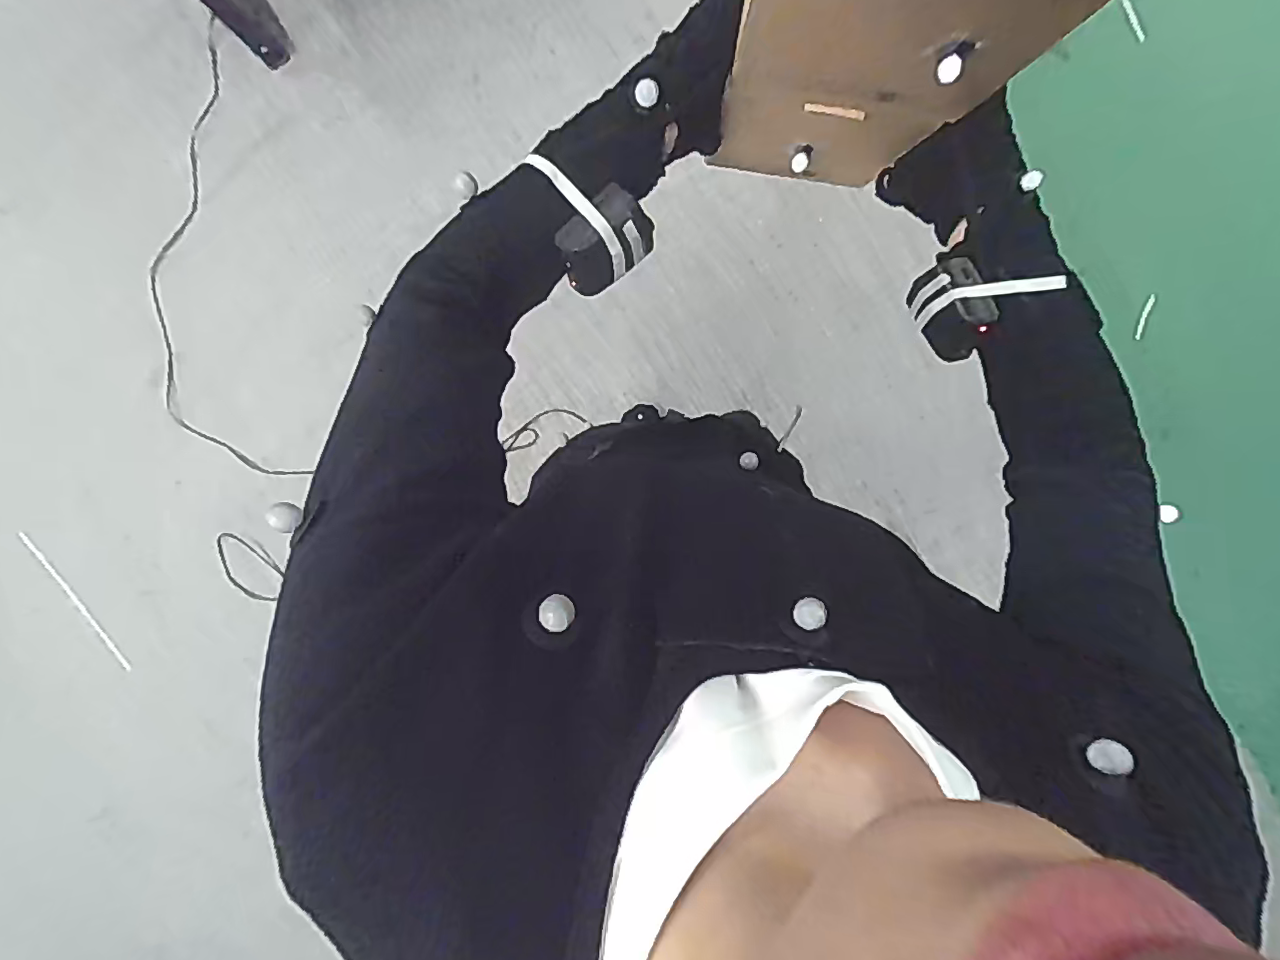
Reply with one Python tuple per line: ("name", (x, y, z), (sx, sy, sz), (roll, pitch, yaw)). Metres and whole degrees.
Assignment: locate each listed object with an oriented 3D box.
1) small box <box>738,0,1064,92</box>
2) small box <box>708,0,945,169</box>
("small box", (0.149, -0.330, 0.269), (0.168, 0.176, 0.179), (8, 104, 0))
("small box", (0.149, -0.377, 0.445), (0.168, 0.176, 0.179), (5, 104, 2))
